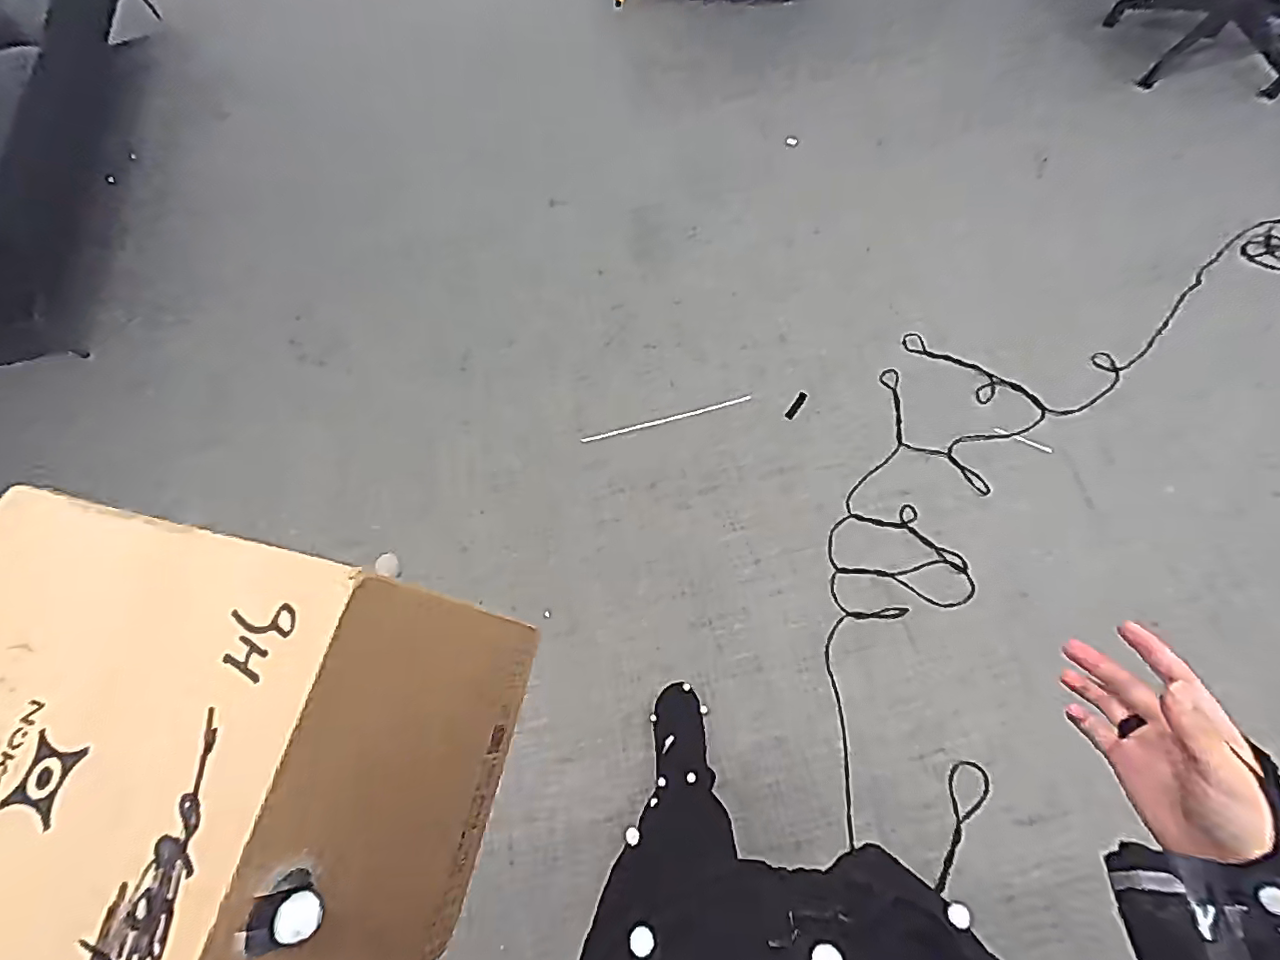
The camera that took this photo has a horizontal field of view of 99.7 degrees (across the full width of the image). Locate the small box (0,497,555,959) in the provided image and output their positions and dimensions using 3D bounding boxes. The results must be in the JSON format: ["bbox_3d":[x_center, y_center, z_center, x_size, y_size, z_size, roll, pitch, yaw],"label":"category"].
[{"bbox_3d":[-0.165,0.122,0.252,0.179,0.176,0.168,9,72,16],"label":"small box"}]
